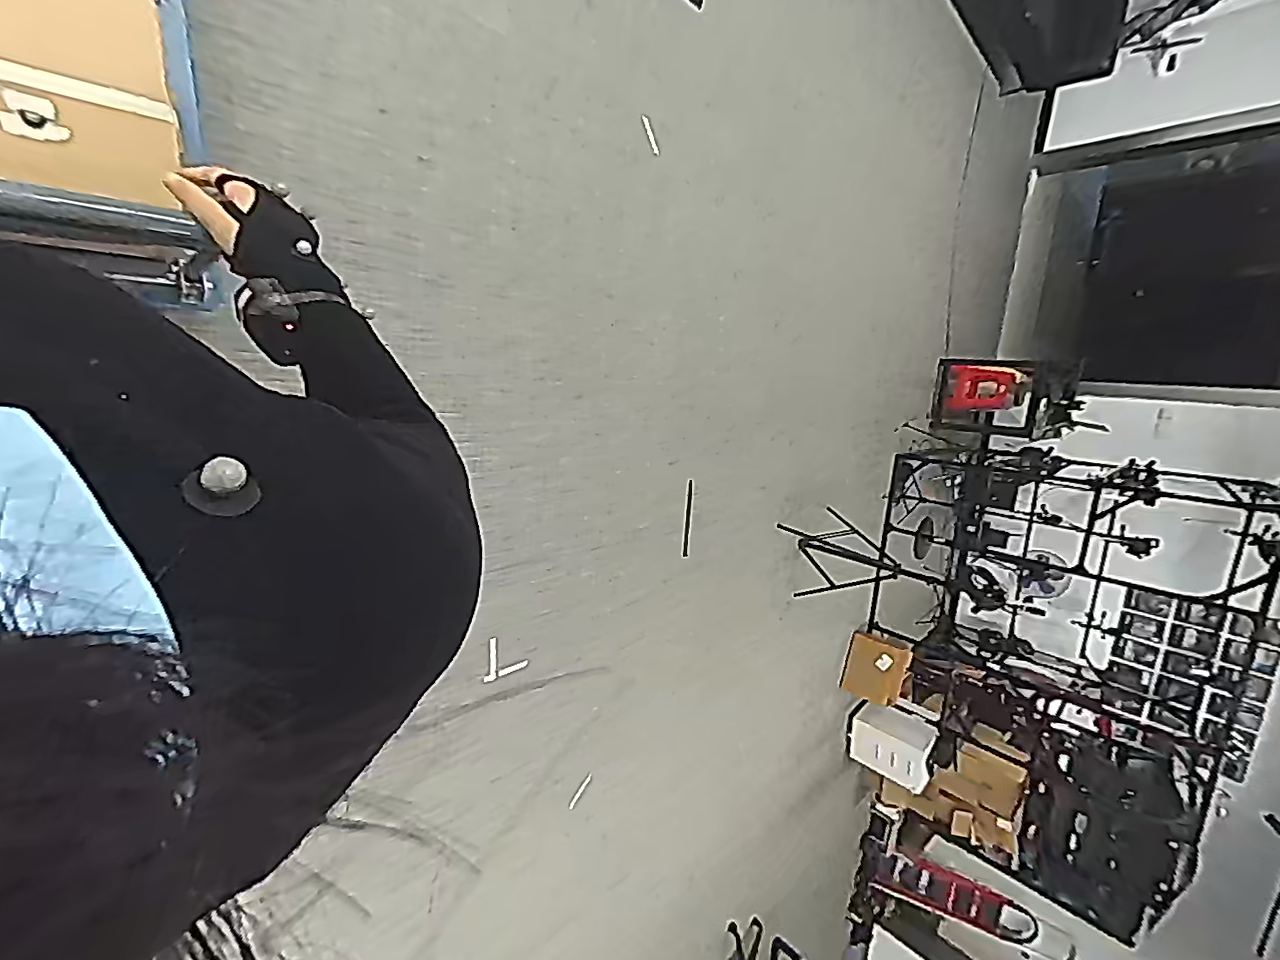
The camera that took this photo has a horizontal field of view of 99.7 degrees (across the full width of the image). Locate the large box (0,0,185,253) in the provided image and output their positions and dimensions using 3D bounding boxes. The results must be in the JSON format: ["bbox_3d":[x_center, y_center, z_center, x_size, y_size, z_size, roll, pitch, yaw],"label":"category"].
[{"bbox_3d":[-0.897,-0.504,0.705,0.408,0.320,0.320,-11,109,-46],"label":"large box"}]
